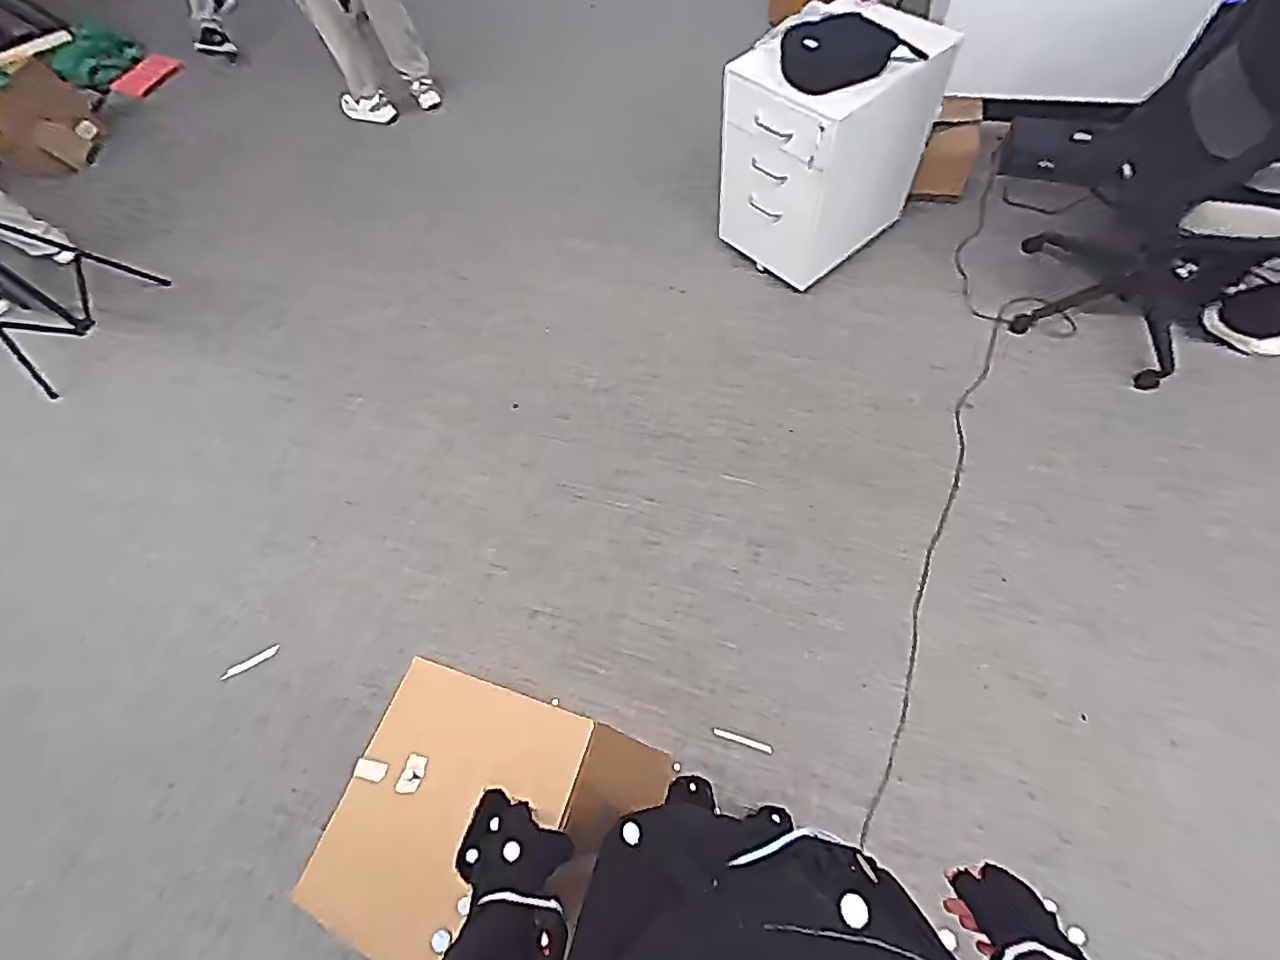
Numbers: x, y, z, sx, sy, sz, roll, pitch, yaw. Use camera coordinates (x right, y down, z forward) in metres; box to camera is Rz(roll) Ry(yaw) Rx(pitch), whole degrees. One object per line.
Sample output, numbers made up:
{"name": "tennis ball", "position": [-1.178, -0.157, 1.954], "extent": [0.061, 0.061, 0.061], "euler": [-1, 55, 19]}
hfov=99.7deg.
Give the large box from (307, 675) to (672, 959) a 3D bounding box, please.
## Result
{"name": "large box", "position": [-0.180, 0.527, 0.826], "extent": [0.320, 0.408, 0.320], "euler": [9, 62, 24]}
